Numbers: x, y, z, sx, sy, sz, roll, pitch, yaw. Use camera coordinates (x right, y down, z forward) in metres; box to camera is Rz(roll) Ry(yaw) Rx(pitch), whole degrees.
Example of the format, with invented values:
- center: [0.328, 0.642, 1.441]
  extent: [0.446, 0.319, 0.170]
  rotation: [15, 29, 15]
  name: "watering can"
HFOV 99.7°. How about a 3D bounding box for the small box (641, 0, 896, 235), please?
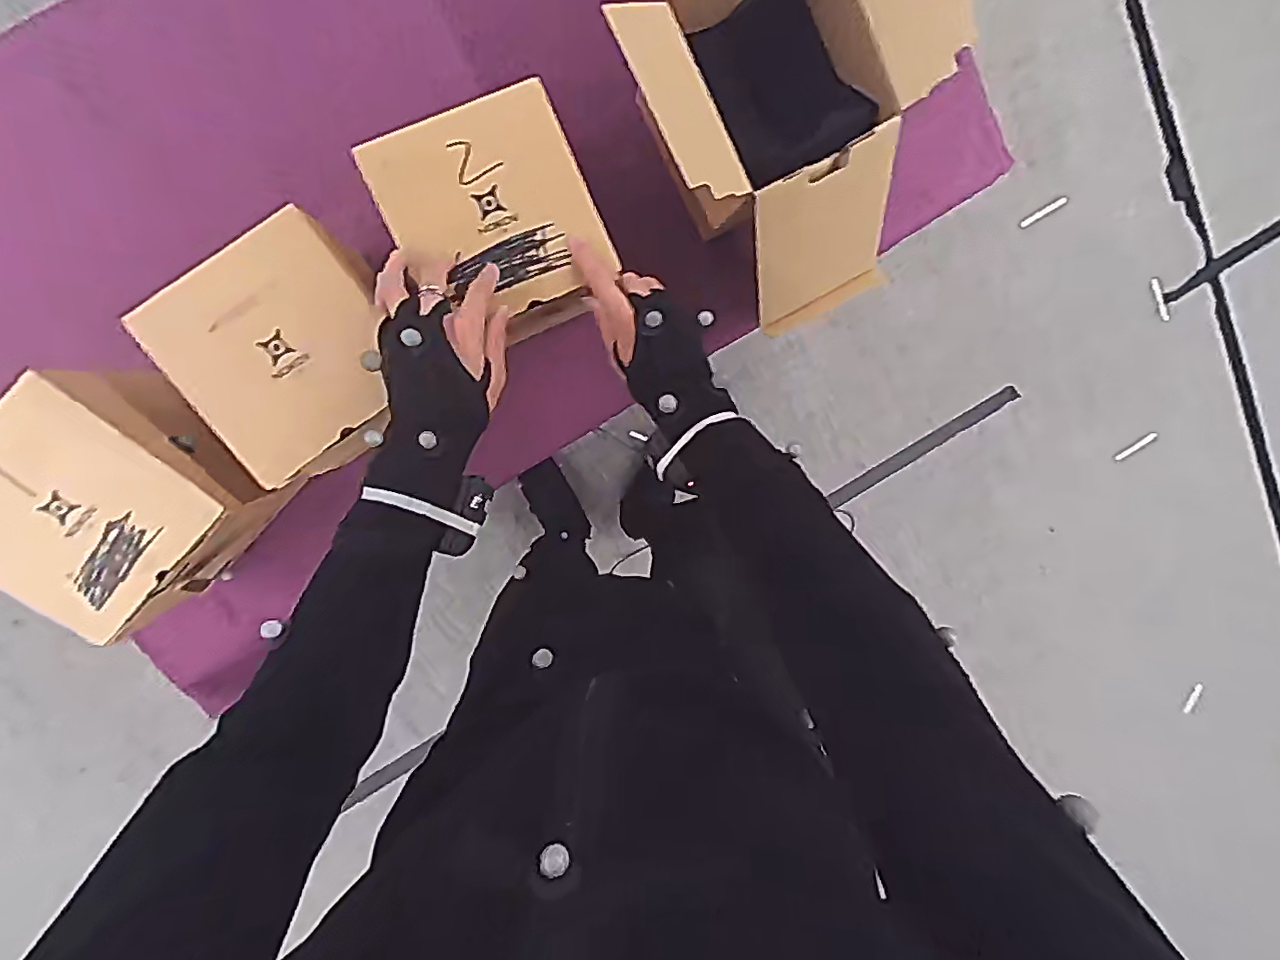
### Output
- center: [0.117, -0.387, 0.556]
  extent: [0.168, 0.176, 0.179]
  rotation: [-29, 104, -3]
  name: "small box"
